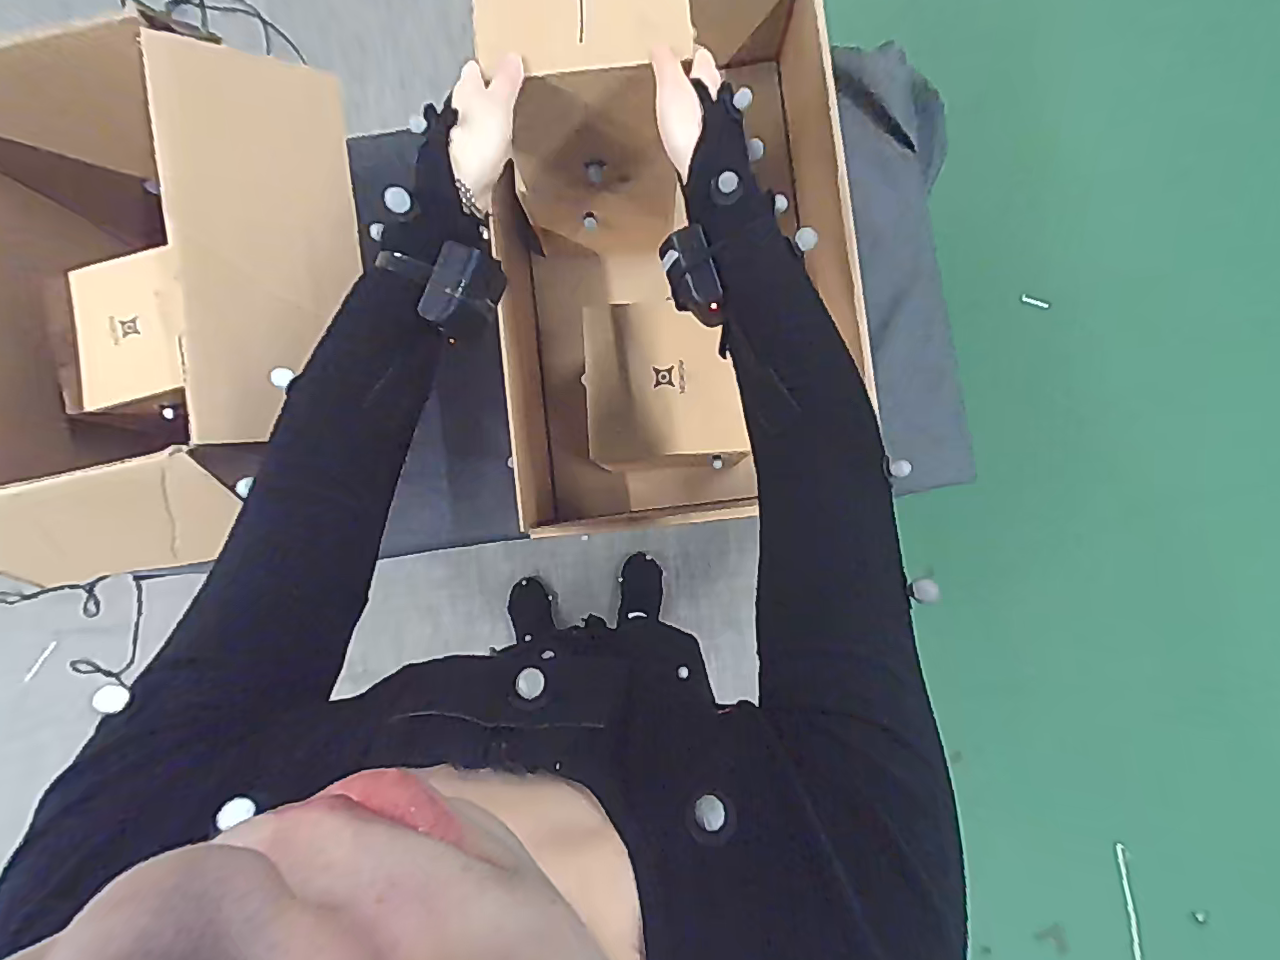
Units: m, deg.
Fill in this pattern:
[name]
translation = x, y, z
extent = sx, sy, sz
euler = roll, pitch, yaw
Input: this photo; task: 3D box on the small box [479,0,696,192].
[small box]
translation = -0.043, -0.397, 0.492
extent = 0.168, 0.176, 0.179
euler = -5, 91, 1
